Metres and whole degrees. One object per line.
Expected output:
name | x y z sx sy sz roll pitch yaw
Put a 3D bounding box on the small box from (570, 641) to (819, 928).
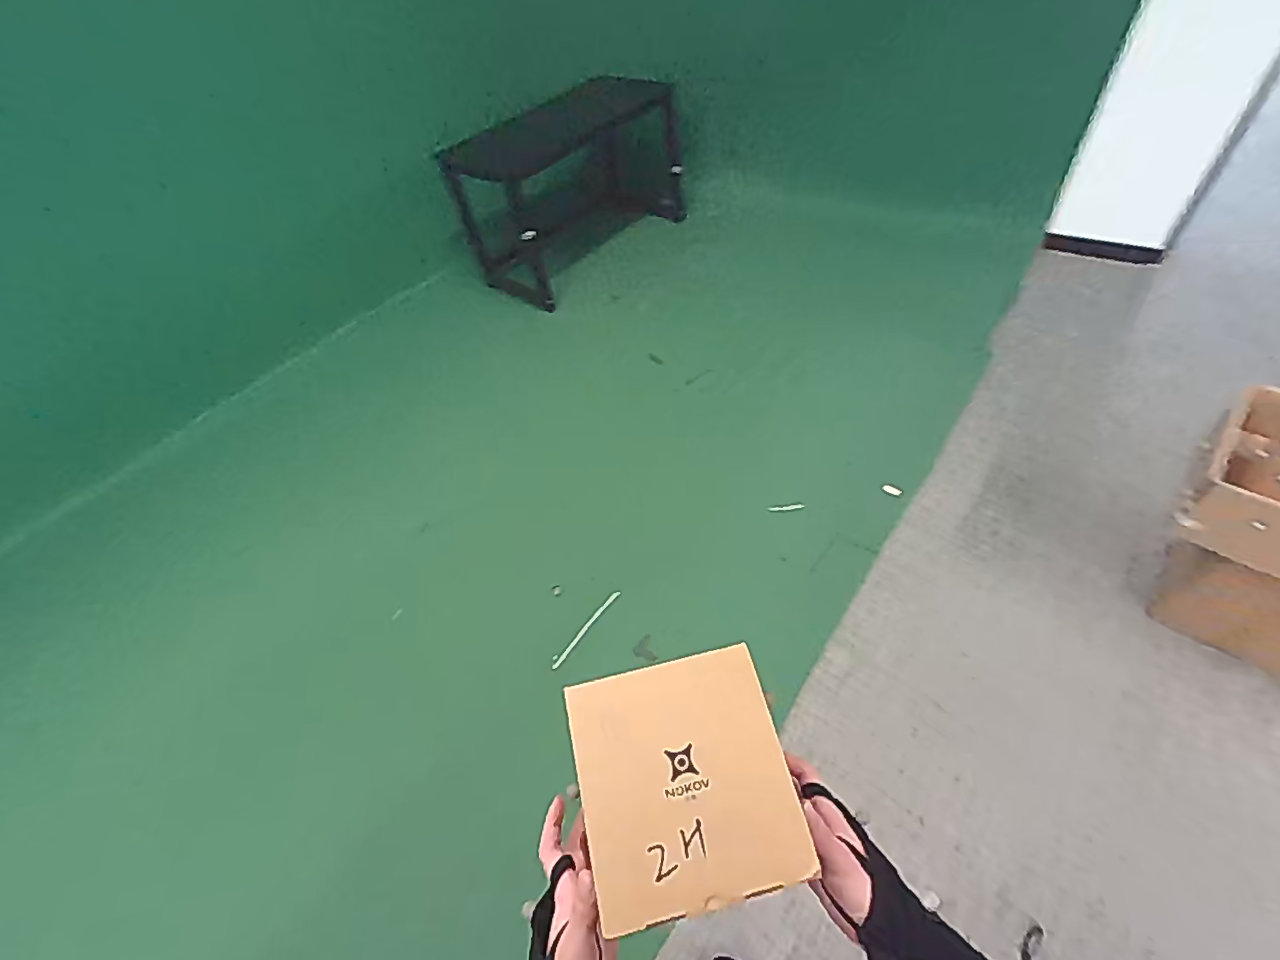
small box | 0.037 0.270 0.497 0.168 0.176 0.179 -12 60 -4
